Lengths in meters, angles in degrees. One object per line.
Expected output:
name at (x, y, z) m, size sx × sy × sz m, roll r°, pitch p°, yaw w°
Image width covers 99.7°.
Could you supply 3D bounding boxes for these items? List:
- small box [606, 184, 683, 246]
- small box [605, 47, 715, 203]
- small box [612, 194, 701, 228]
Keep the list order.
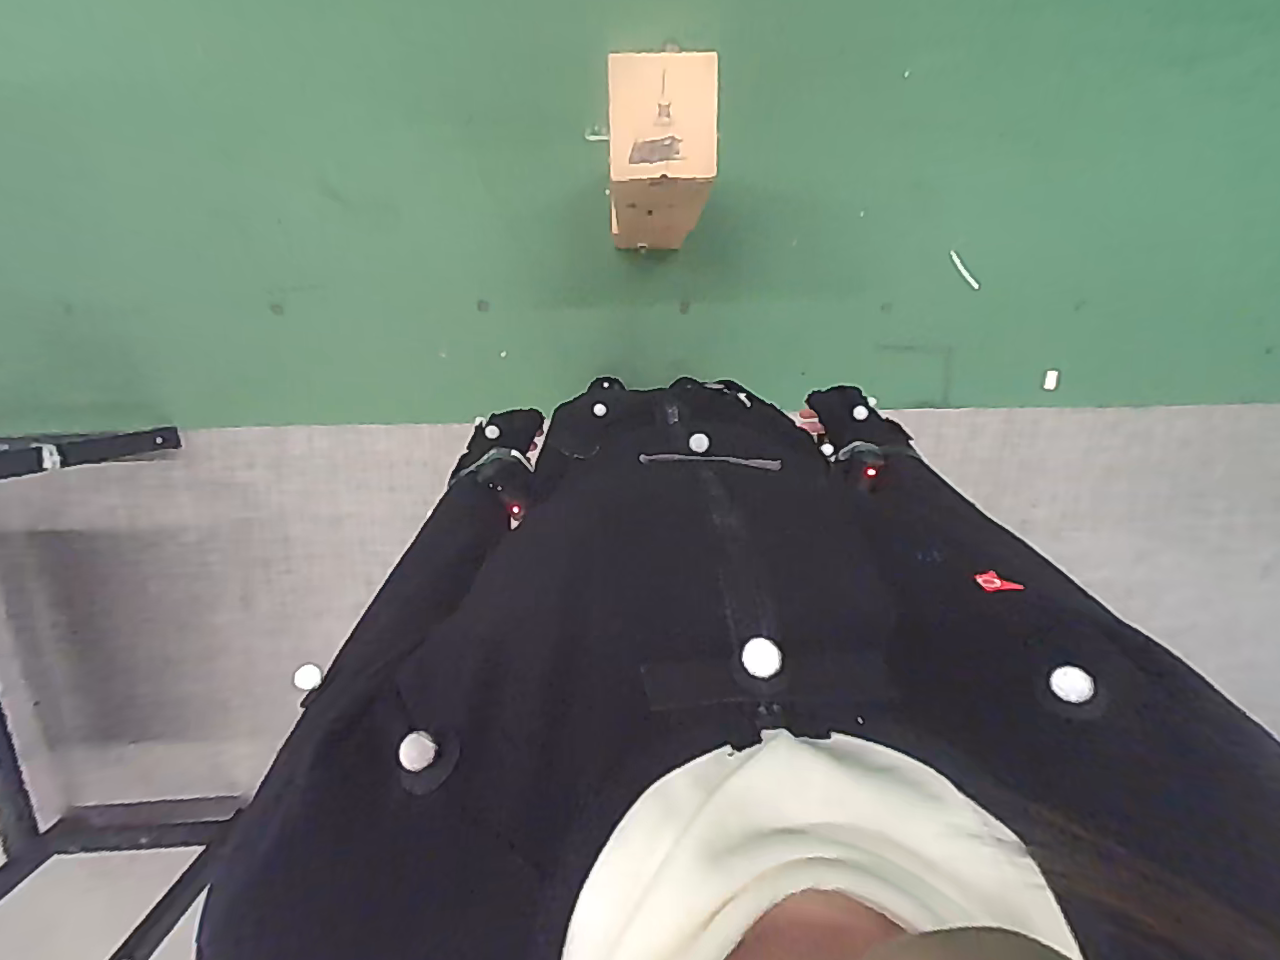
small box at (0.013, -0.632, 1.195) m, size 0.168 × 0.176 × 0.179 m, roll 2°, pitch 103°, yaw 0°
small box at (0.029, -0.570, 0.892) m, size 0.168 × 0.176 × 0.179 m, roll -1°, pitch 102°, yaw -1°
small box at (0.027, -0.606, 1.053) m, size 0.168 × 0.176 × 0.179 m, roll -1°, pitch 102°, yaw -1°
